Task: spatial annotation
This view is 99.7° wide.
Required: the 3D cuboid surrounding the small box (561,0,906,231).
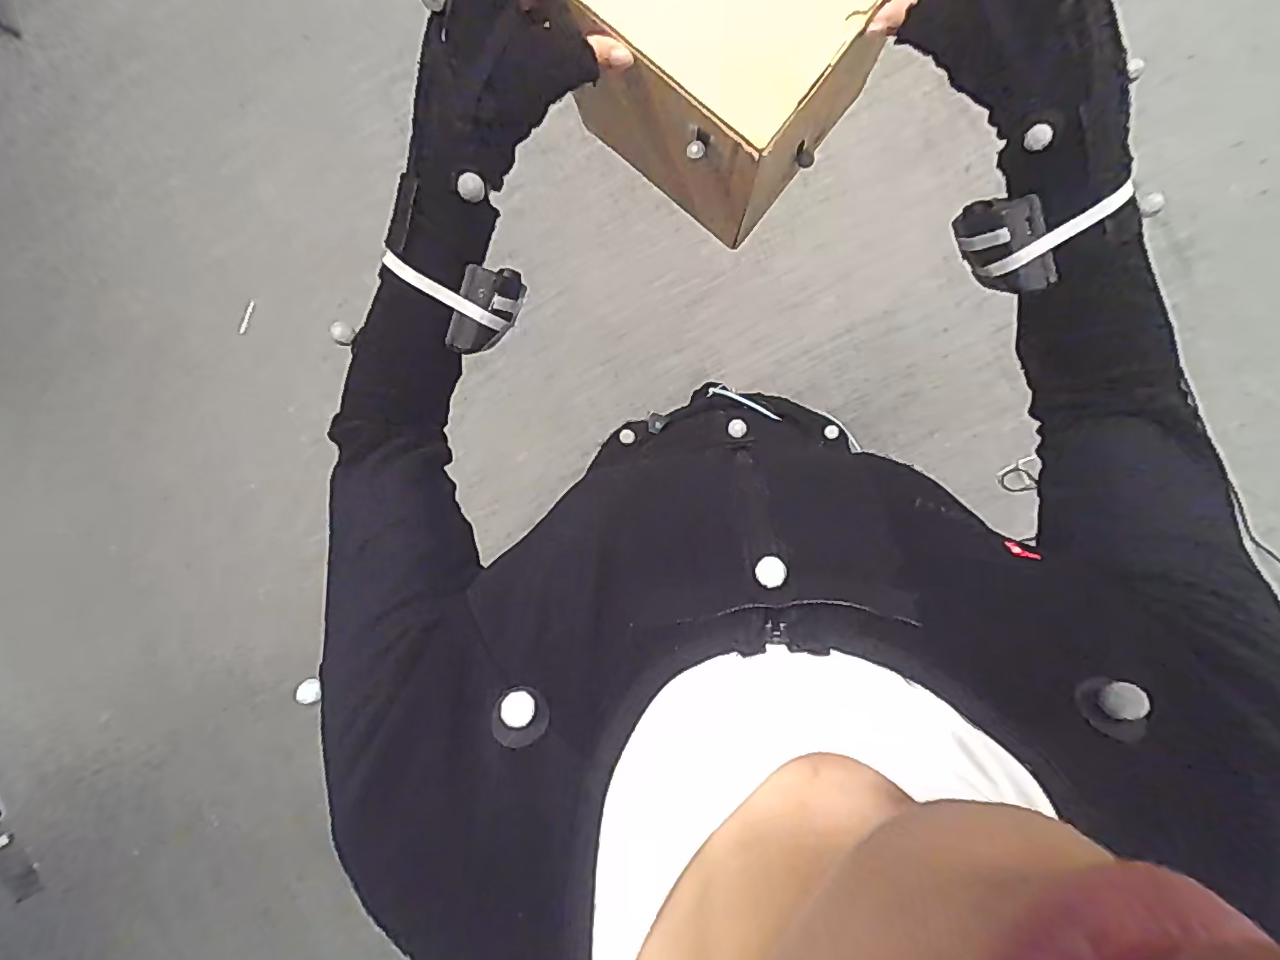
[{"bbox_3d":[0.061,-0.316,0.386,0.179,0.176,0.168,40,97,-1],"label":"small box"}]
